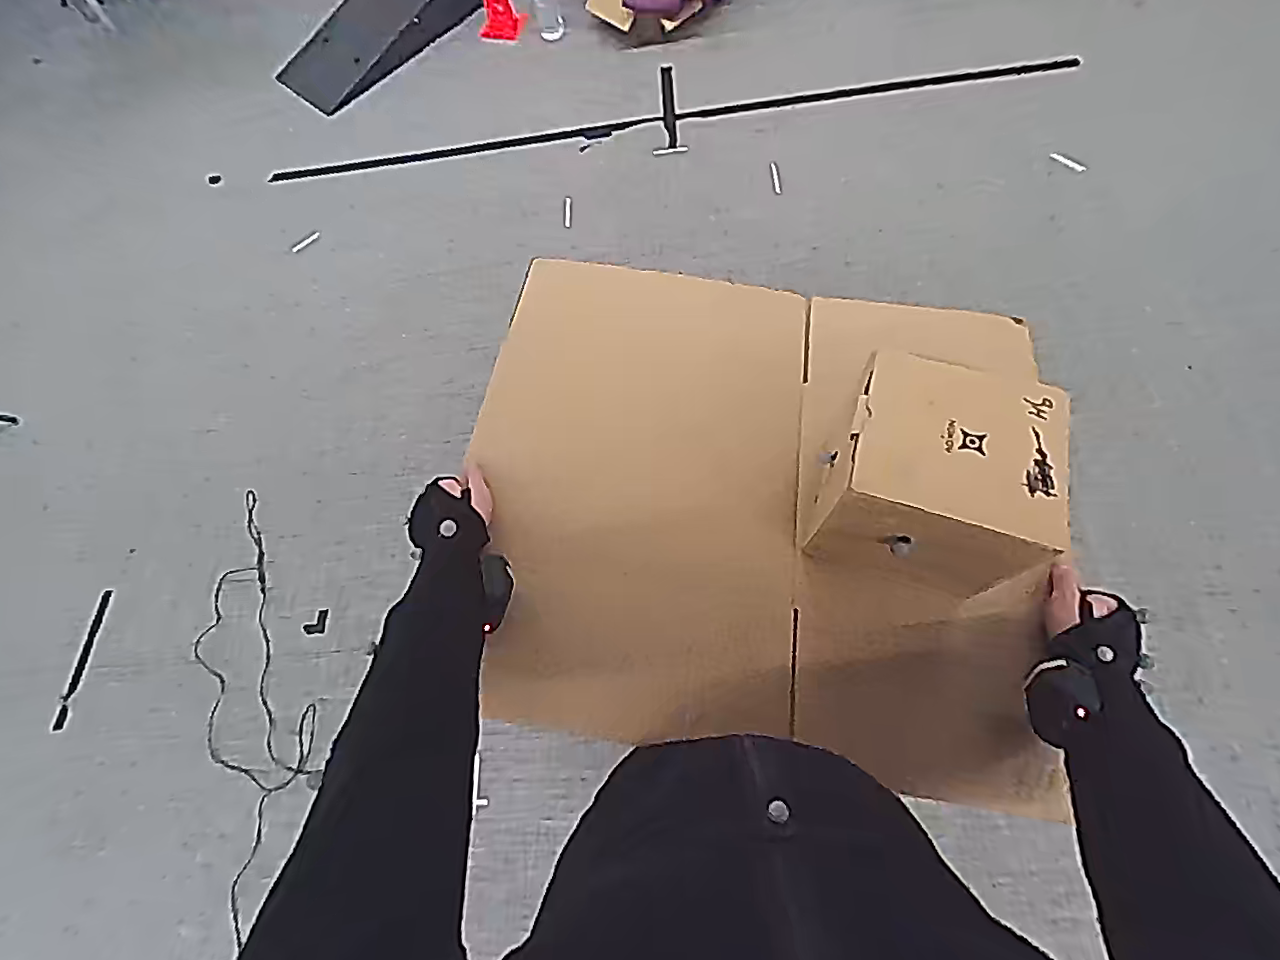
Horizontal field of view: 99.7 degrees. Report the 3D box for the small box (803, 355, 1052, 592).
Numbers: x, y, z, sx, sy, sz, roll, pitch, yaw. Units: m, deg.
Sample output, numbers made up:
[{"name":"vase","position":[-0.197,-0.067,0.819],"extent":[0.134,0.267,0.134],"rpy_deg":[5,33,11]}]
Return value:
[{"name":"small box","position":[0.282,0.002,0.560],"extent":[0.179,0.176,0.168],"rpy_deg":[16,66,11]}]
